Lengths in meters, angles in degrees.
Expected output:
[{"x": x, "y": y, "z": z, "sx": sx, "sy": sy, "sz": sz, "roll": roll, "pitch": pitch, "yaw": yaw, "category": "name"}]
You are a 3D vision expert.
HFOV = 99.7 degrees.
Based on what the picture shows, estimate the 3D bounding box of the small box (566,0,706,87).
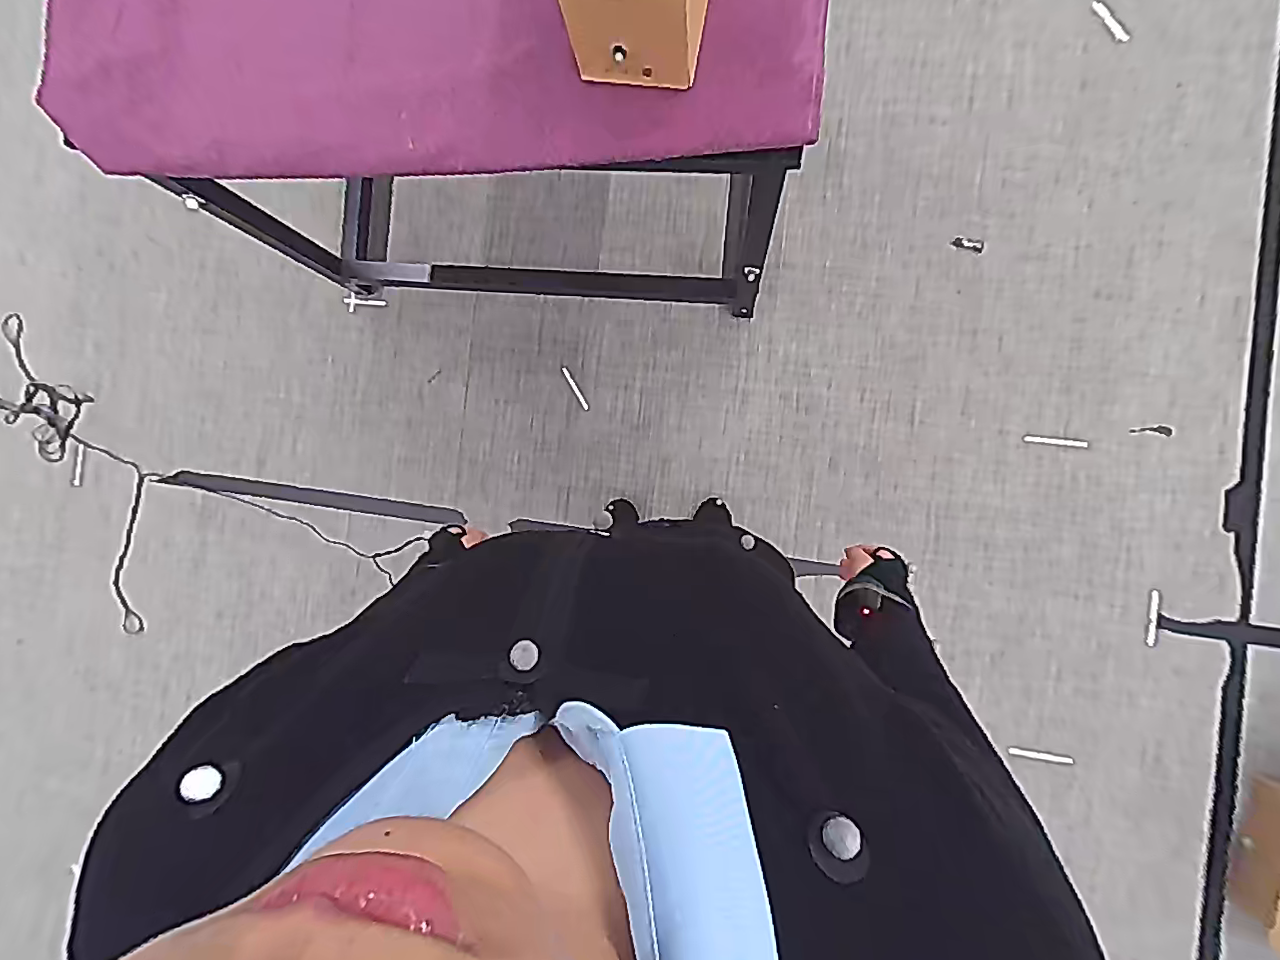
[{"x": -0.001, "y": -0.664, "z": 0.703, "sx": 0.168, "sy": 0.176, "sz": 0.179, "roll": 10, "pitch": 89, "yaw": 7, "category": "small box"}]

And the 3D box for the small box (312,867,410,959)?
[{"x": -0.742, "y": 1.186, "z": 1.451, "sx": 0.168, "sy": 0.176, "sz": 0.179, "roll": 5, "pitch": 89, "yaw": 7, "category": "small box"}]
